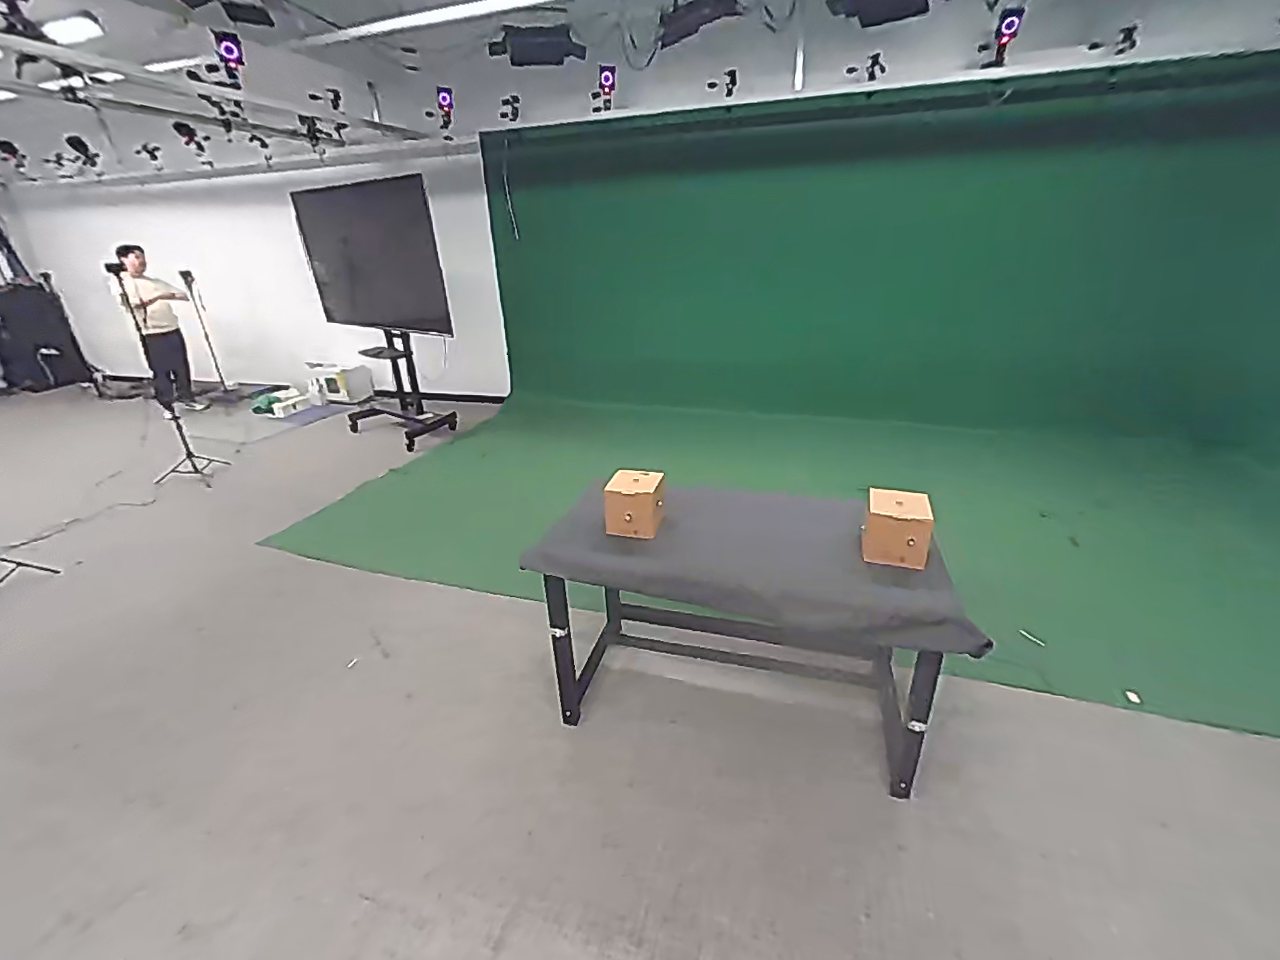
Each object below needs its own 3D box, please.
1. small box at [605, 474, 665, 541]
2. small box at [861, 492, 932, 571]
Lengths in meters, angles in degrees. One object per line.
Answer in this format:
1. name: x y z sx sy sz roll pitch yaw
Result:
1. small box: -0.010 0.094 1.841 0.168 0.176 0.179 5 25 14
2. small box: 0.768 0.155 1.629 0.168 0.176 0.179 7 24 18
